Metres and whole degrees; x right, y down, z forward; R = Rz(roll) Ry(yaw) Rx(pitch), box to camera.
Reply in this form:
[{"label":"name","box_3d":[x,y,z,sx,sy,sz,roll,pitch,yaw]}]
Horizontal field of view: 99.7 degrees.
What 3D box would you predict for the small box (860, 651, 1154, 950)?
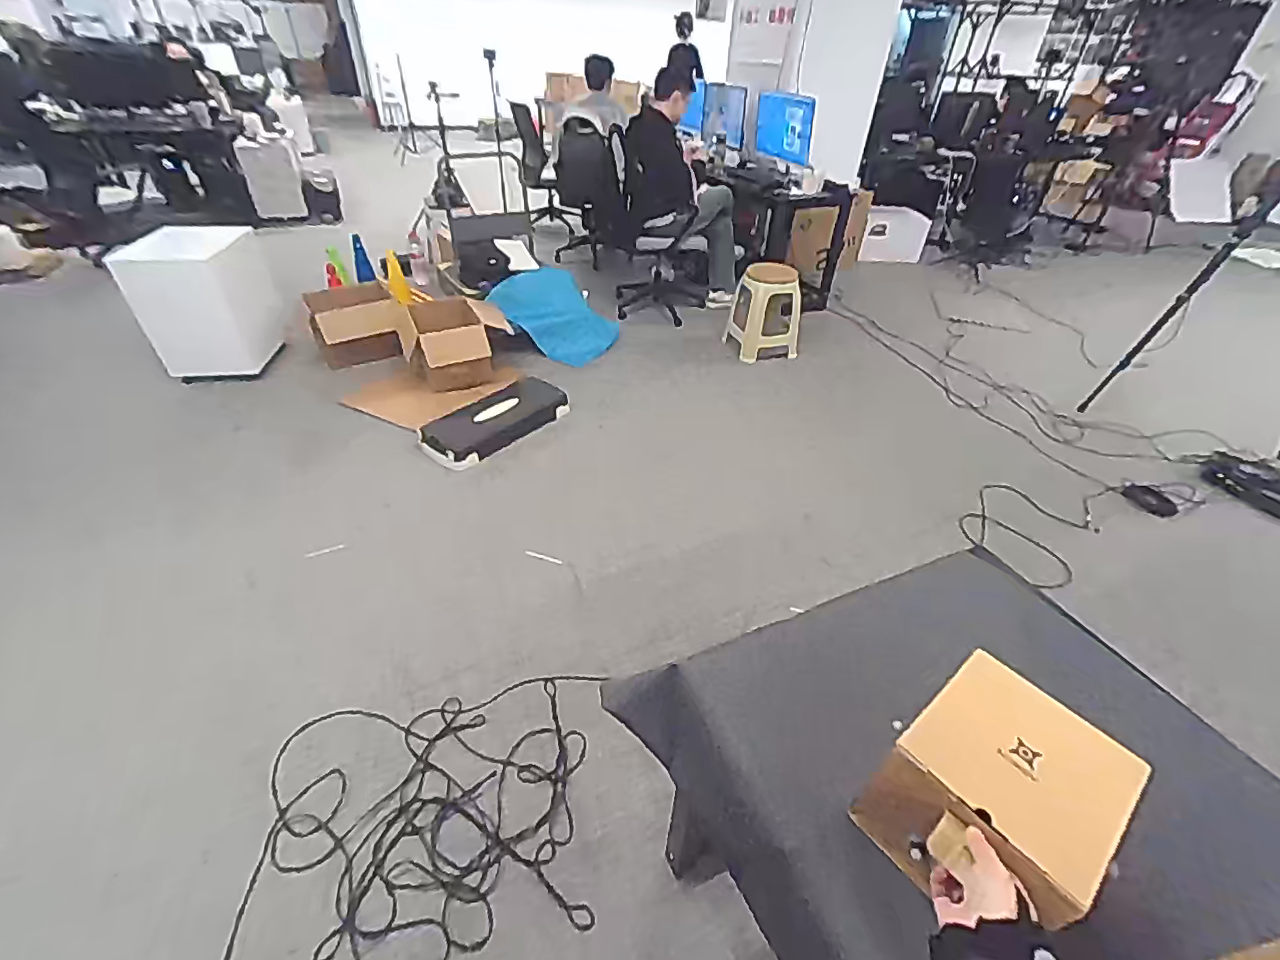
[{"label":"small box","box_3d":[0.357,0.321,0.555,0.179,0.176,0.168,-26,48,-31]}]
